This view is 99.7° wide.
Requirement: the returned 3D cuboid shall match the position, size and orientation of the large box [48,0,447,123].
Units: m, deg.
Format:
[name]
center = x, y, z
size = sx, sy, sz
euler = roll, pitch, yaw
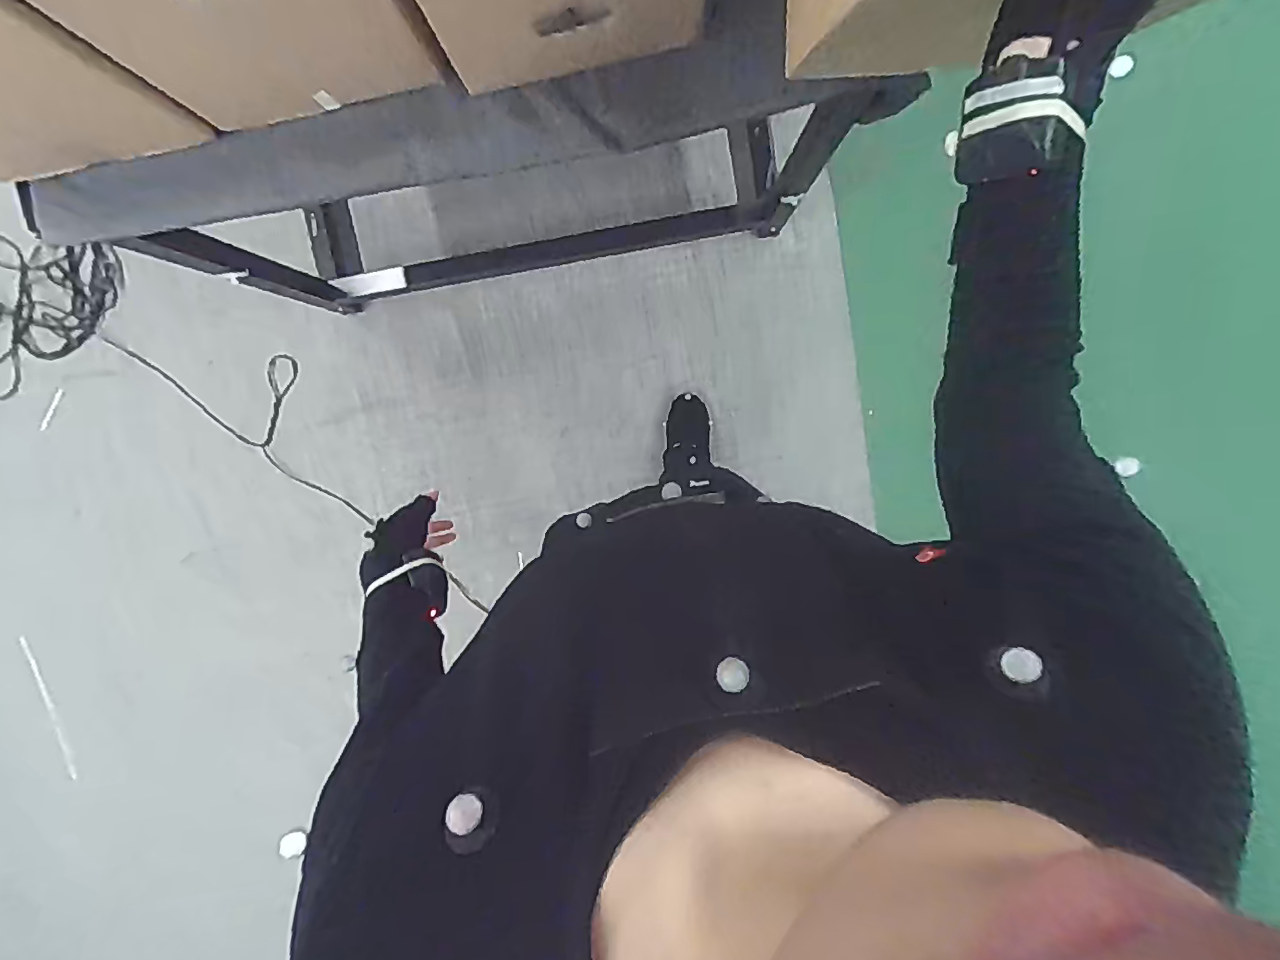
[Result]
[large box]
center = -0.432, -0.664, 0.530
size = 0.320, 0.320, 0.408
euler = -10, 97, 4
